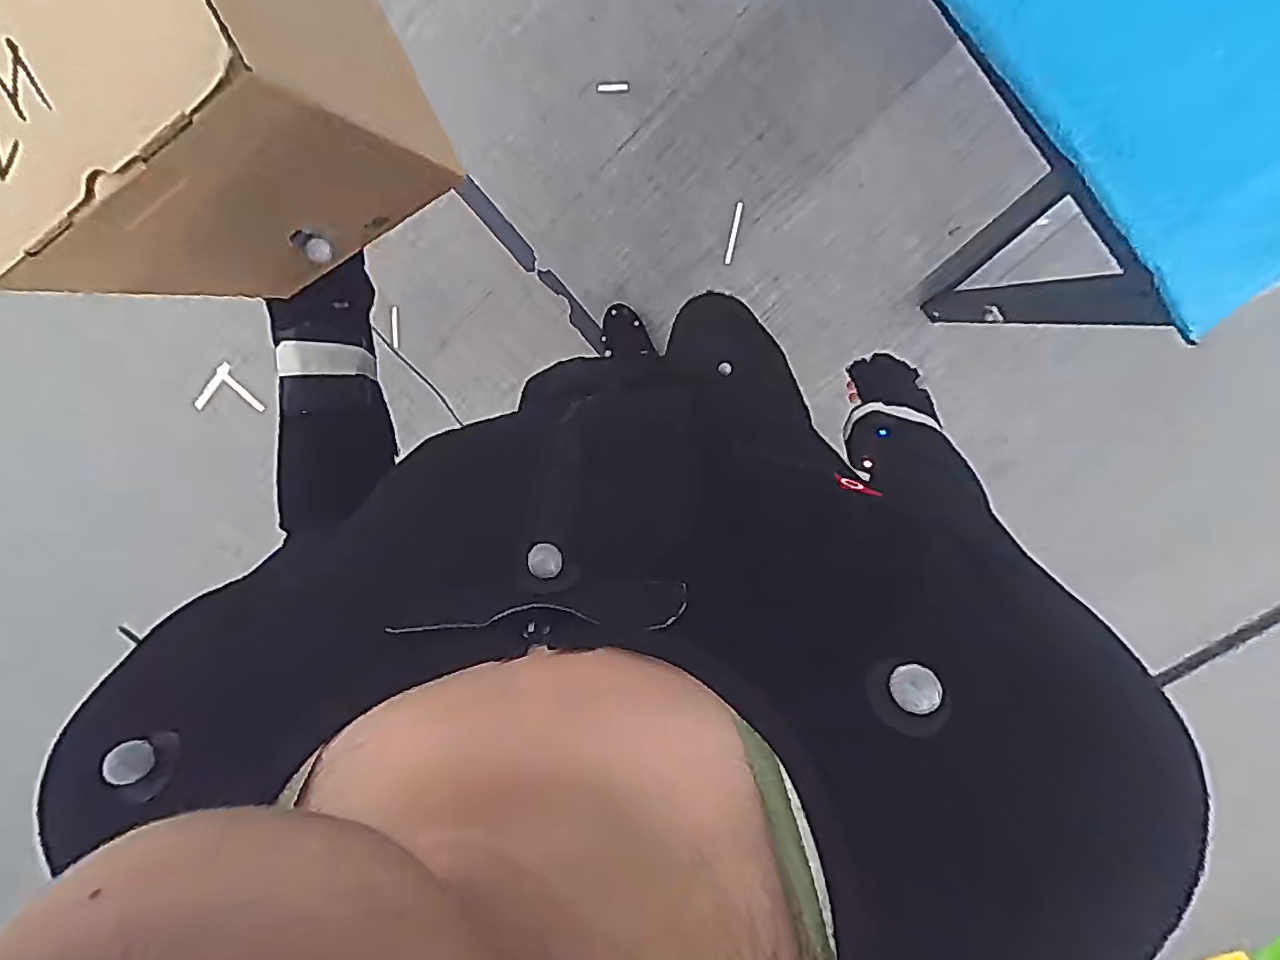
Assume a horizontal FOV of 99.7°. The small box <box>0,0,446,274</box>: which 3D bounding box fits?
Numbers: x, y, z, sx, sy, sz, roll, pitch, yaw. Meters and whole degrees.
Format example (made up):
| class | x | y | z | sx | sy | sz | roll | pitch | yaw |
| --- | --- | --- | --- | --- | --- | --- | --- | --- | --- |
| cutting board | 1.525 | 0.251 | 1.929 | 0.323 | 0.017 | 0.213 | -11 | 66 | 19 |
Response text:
| class | x | y | z | sx | sy | sz | roll | pitch | yaw |
| --- | --- | --- | --- | --- | --- | --- | --- | --- | --- |
| small box | -0.235 | -0.217 | 0.268 | 0.168 | 0.176 | 0.179 | -19 | 106 | 17 |
